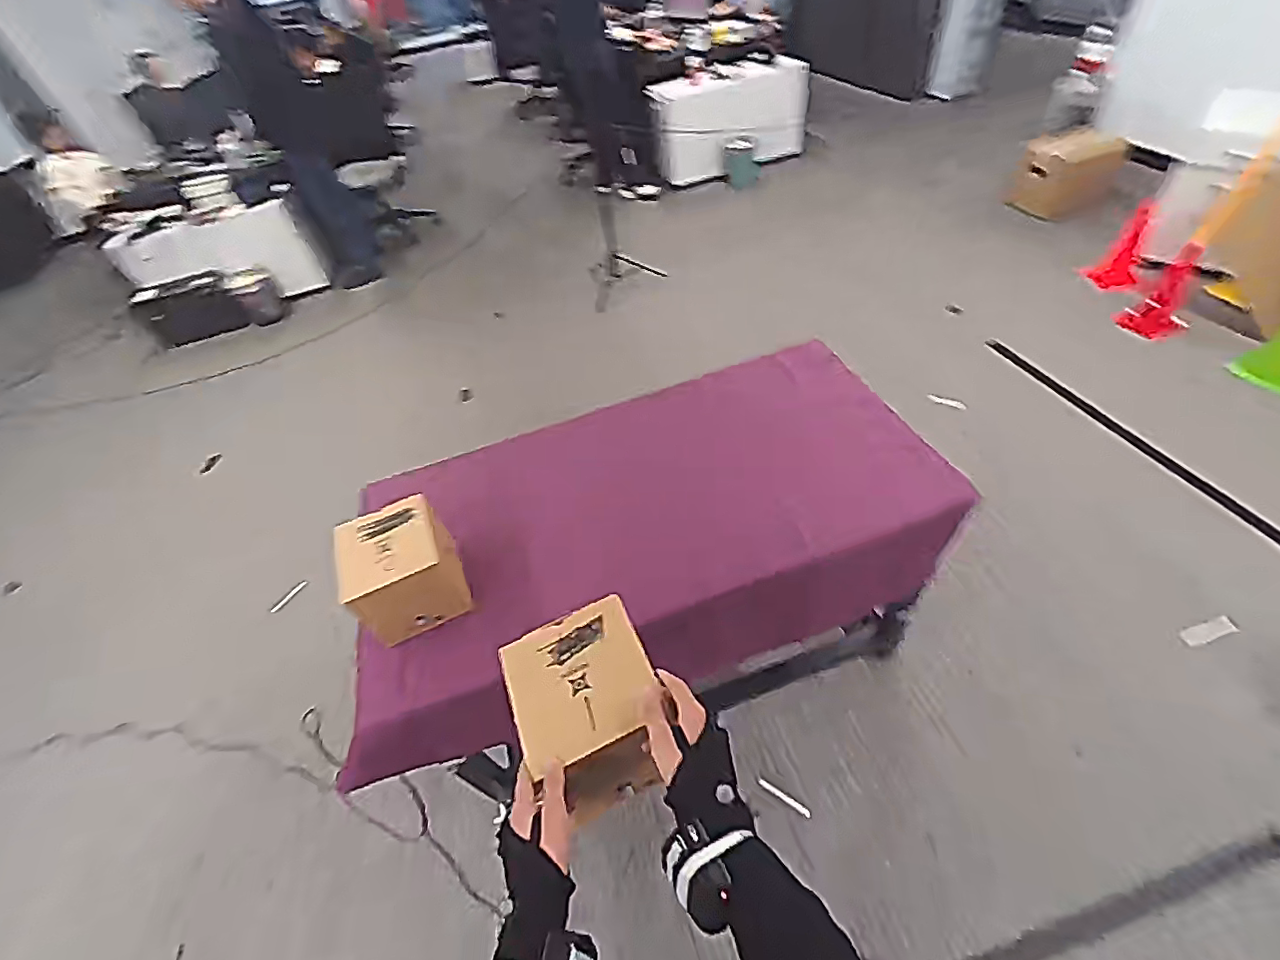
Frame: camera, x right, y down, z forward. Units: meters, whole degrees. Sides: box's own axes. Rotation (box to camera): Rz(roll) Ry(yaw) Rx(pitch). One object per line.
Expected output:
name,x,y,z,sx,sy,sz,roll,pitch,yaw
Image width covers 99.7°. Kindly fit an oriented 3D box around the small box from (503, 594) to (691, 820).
small box,-0.052,0.284,0.681,0.168,0.176,0.179,-25,43,-6
